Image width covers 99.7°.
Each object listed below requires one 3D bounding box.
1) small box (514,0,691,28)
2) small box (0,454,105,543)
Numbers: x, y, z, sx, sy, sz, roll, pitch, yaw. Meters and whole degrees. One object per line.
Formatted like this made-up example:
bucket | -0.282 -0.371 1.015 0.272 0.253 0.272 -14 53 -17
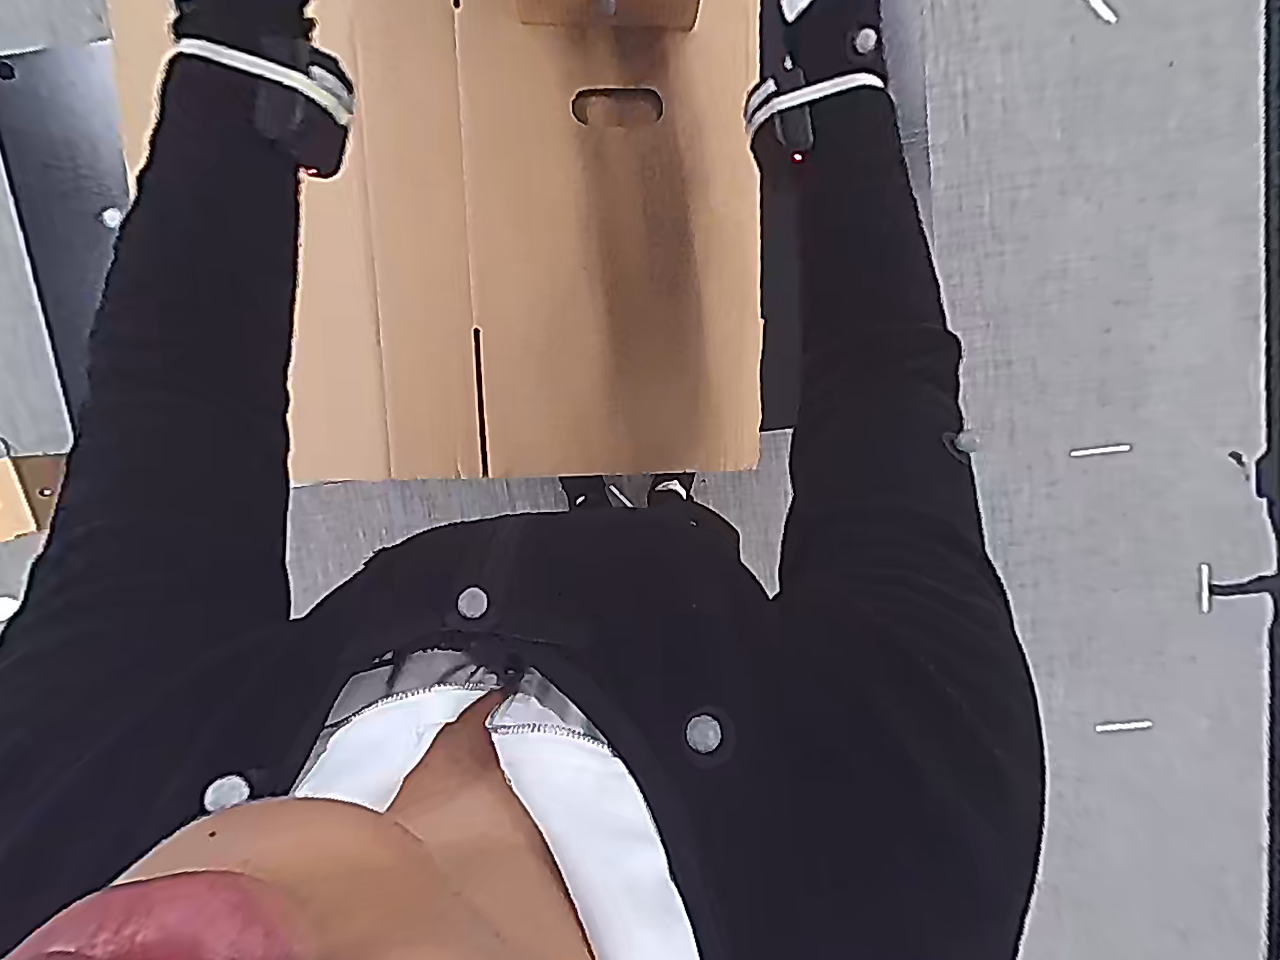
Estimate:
small box | -0.029 -0.516 0.442 0.179 0.176 0.168 -1 95 -3
small box | -1.444 0.043 1.284 0.168 0.176 0.179 -14 96 2
